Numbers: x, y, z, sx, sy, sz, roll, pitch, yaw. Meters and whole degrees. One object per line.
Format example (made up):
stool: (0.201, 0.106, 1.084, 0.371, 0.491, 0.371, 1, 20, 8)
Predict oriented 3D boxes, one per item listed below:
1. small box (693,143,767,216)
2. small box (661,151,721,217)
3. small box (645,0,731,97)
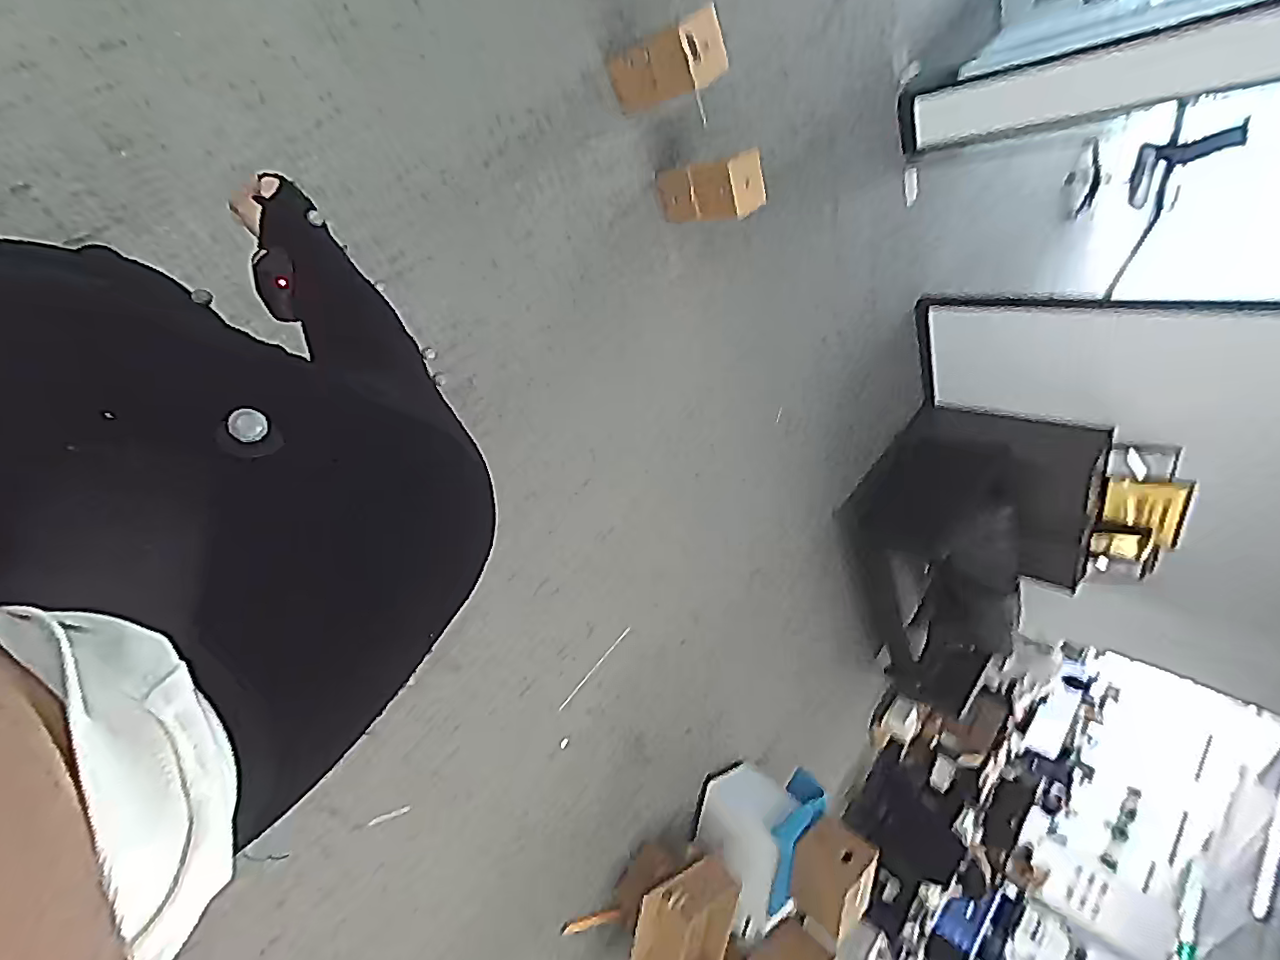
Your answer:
small box: (0.310, -1.028, 1.862, 0.168, 0.176, 0.179, -40, 127, -25)
small box: (0.195, -1.072, 1.969, 0.179, 0.176, 0.168, -38, 128, -25)
small box: (0.136, -1.281, 1.611, 0.179, 0.176, 0.168, -48, 131, -21)
